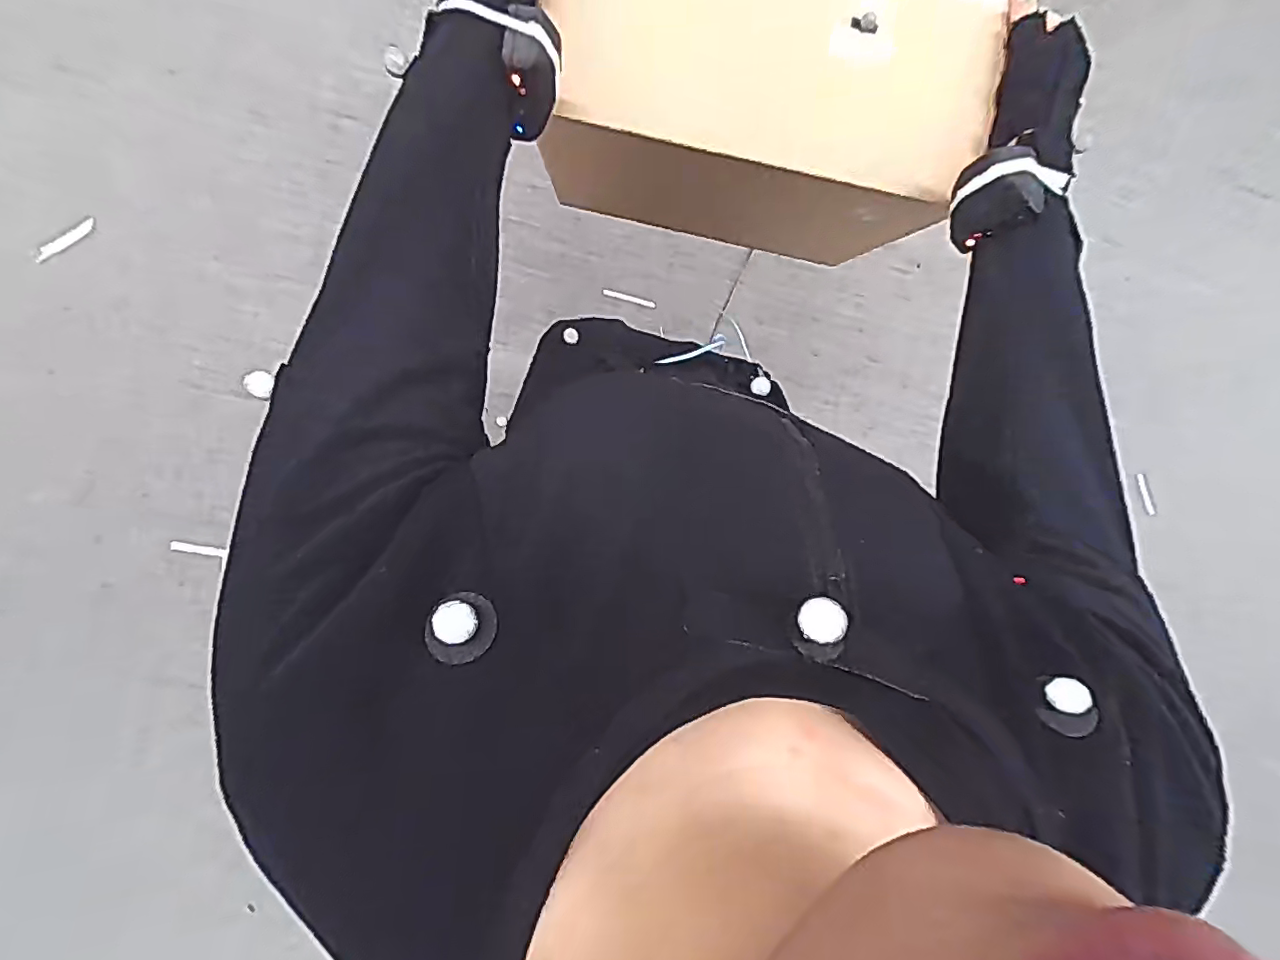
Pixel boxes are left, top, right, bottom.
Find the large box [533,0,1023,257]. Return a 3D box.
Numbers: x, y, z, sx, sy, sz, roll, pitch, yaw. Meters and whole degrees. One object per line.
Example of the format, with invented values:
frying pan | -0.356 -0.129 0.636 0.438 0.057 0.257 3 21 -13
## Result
large box | 0.120 -0.466 0.589 0.408 0.320 0.320 11 103 -5
